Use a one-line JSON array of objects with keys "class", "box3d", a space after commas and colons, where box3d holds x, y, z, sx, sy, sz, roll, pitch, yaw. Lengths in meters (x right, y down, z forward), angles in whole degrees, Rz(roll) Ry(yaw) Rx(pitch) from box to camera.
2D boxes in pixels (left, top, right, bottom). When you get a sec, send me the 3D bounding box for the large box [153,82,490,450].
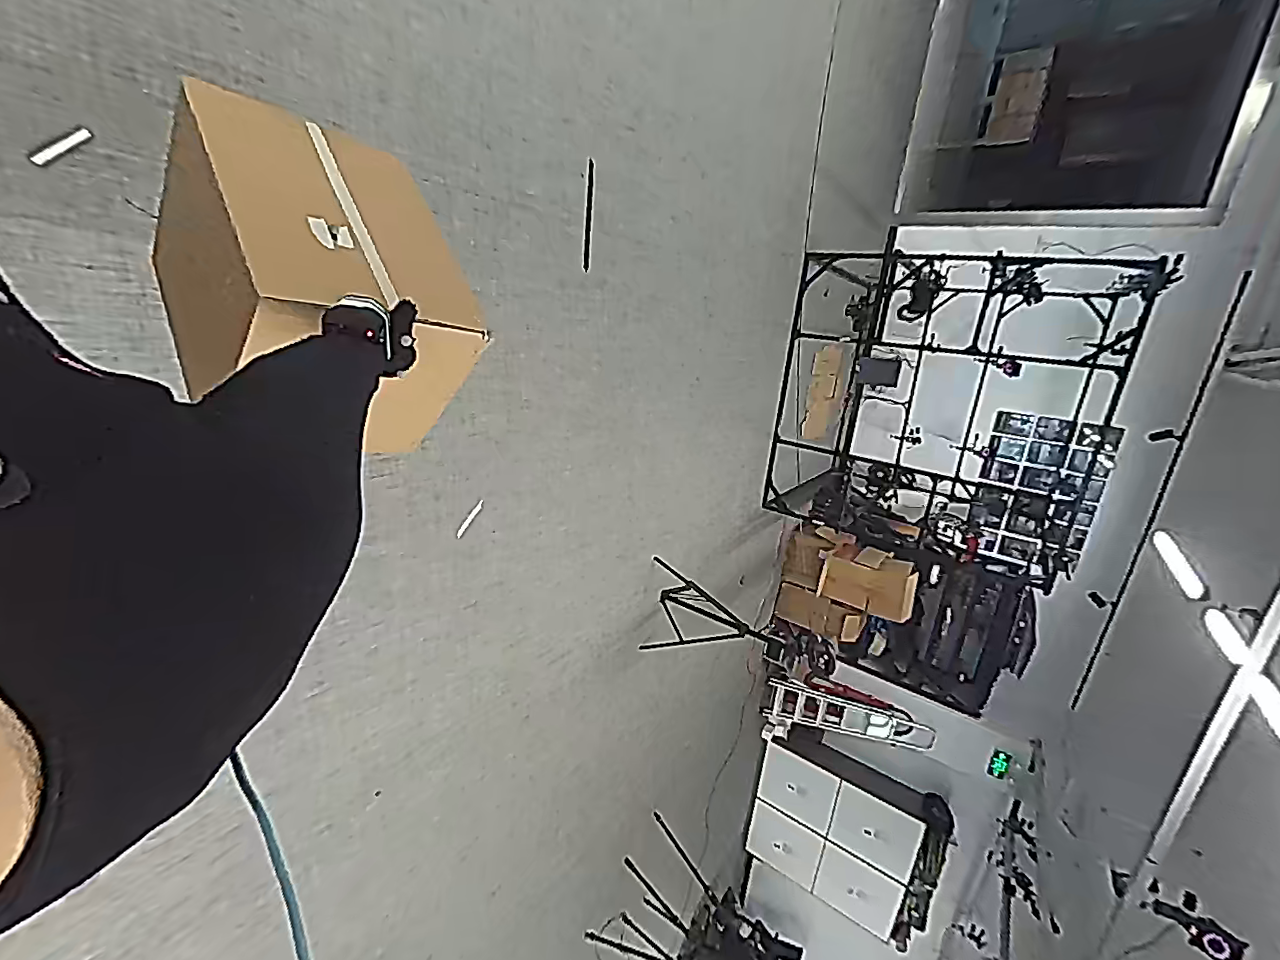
[{"class": "large box", "box3d": [-0.517, -0.299, 0.868, 0.320, 0.408, 0.320, -40, 161, 34]}]
